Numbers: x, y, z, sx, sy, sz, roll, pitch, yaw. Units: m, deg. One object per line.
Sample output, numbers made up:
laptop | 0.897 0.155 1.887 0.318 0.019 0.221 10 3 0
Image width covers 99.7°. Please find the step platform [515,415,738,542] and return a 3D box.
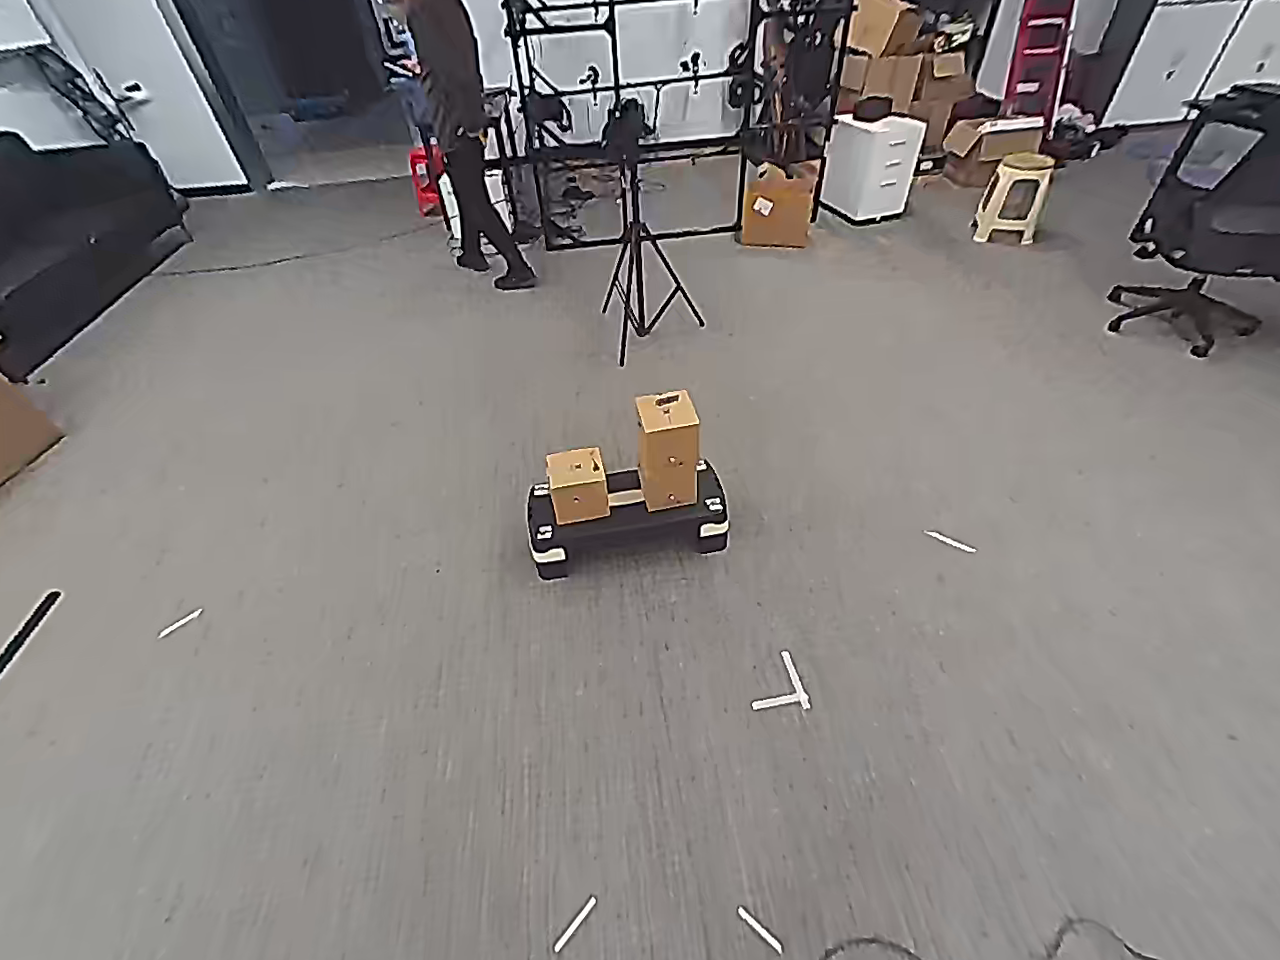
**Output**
step platform | -0.041 -0.005 1.739 0.684 0.204 0.286 -9 44 -5

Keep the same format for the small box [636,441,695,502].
small box | 0.083 -0.026 1.801 0.168 0.176 0.179 -10 45 -5

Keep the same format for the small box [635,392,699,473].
small box | 0.082 -0.147 1.689 0.168 0.176 0.179 -11 45 -5

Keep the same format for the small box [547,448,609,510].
small box | -0.202 0.022 1.776 0.179 0.176 0.168 -11 45 -6
